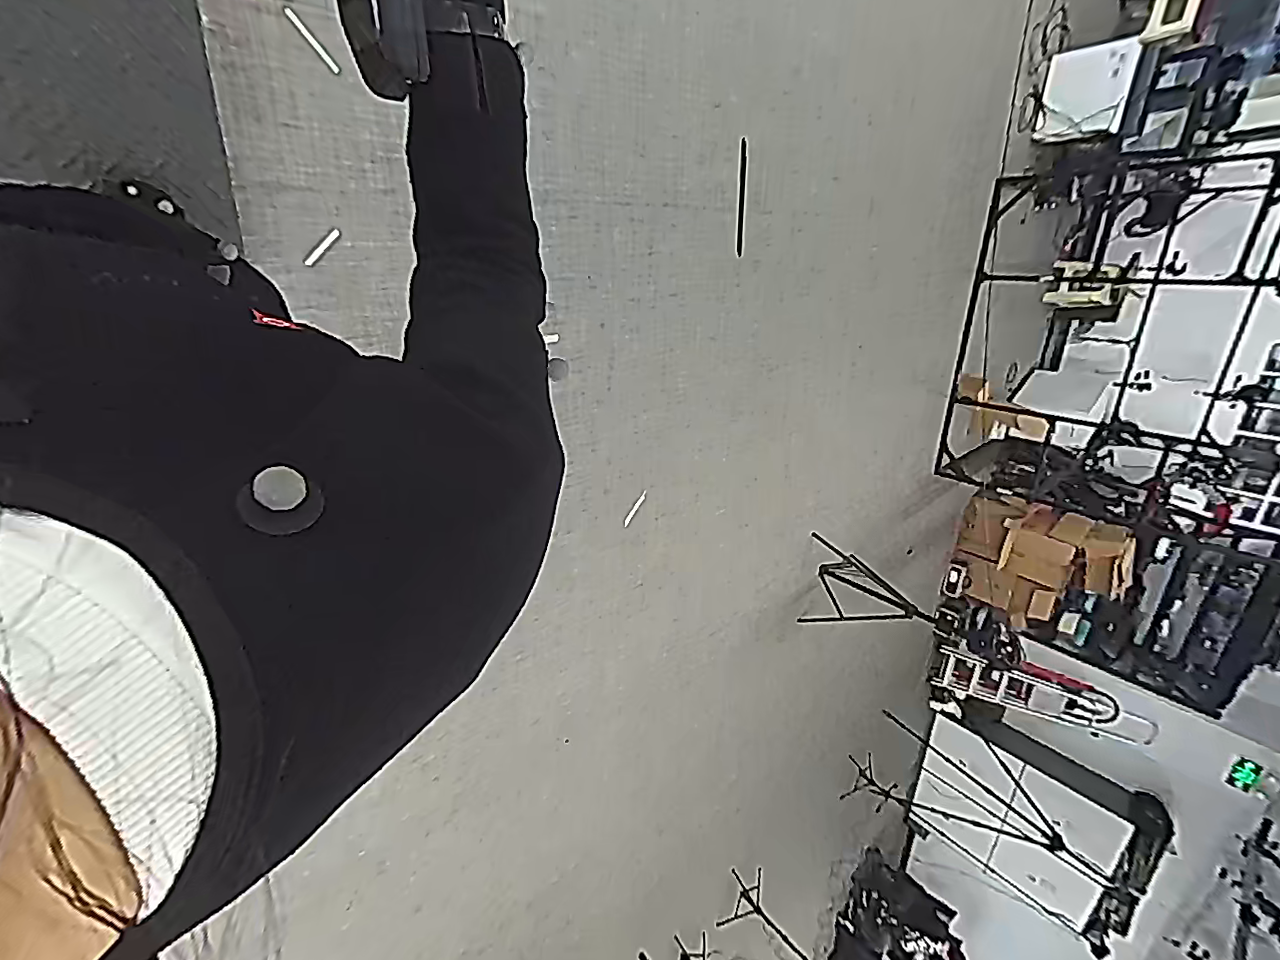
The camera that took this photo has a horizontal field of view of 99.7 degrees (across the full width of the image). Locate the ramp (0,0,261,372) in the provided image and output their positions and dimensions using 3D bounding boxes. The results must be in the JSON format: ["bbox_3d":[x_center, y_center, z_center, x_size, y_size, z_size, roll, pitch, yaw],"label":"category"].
[{"bbox_3d":[-0.964,-0.661,0.832,0.509,0.206,0.991,-18,119,-38],"label":"ramp"}]
